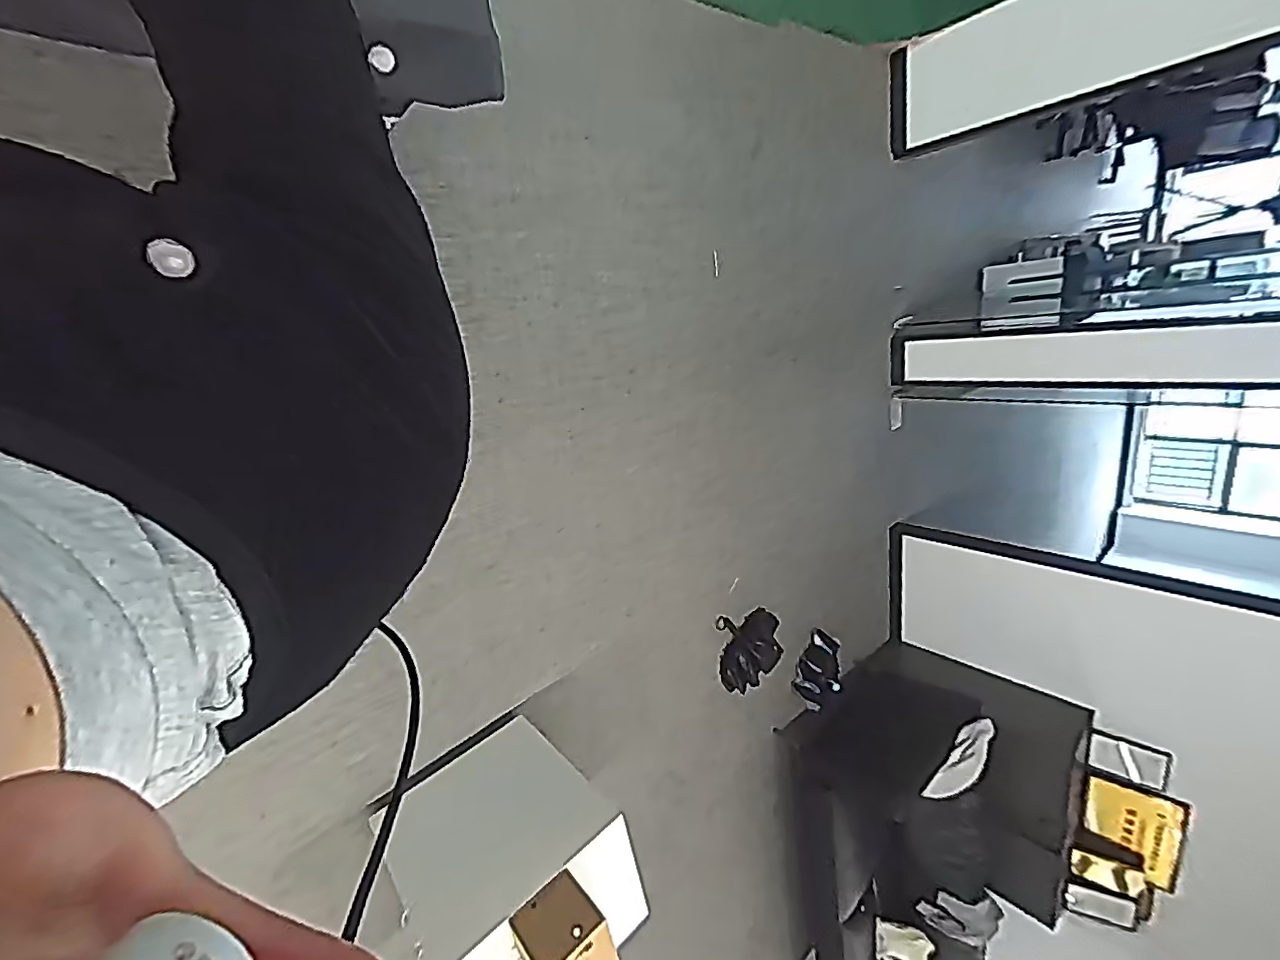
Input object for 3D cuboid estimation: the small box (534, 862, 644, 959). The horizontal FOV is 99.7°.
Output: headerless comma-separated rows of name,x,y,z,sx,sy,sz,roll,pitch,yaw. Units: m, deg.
small box,-0.118,1.038,1.240,0.168,0.176,0.179,-27,116,-34
